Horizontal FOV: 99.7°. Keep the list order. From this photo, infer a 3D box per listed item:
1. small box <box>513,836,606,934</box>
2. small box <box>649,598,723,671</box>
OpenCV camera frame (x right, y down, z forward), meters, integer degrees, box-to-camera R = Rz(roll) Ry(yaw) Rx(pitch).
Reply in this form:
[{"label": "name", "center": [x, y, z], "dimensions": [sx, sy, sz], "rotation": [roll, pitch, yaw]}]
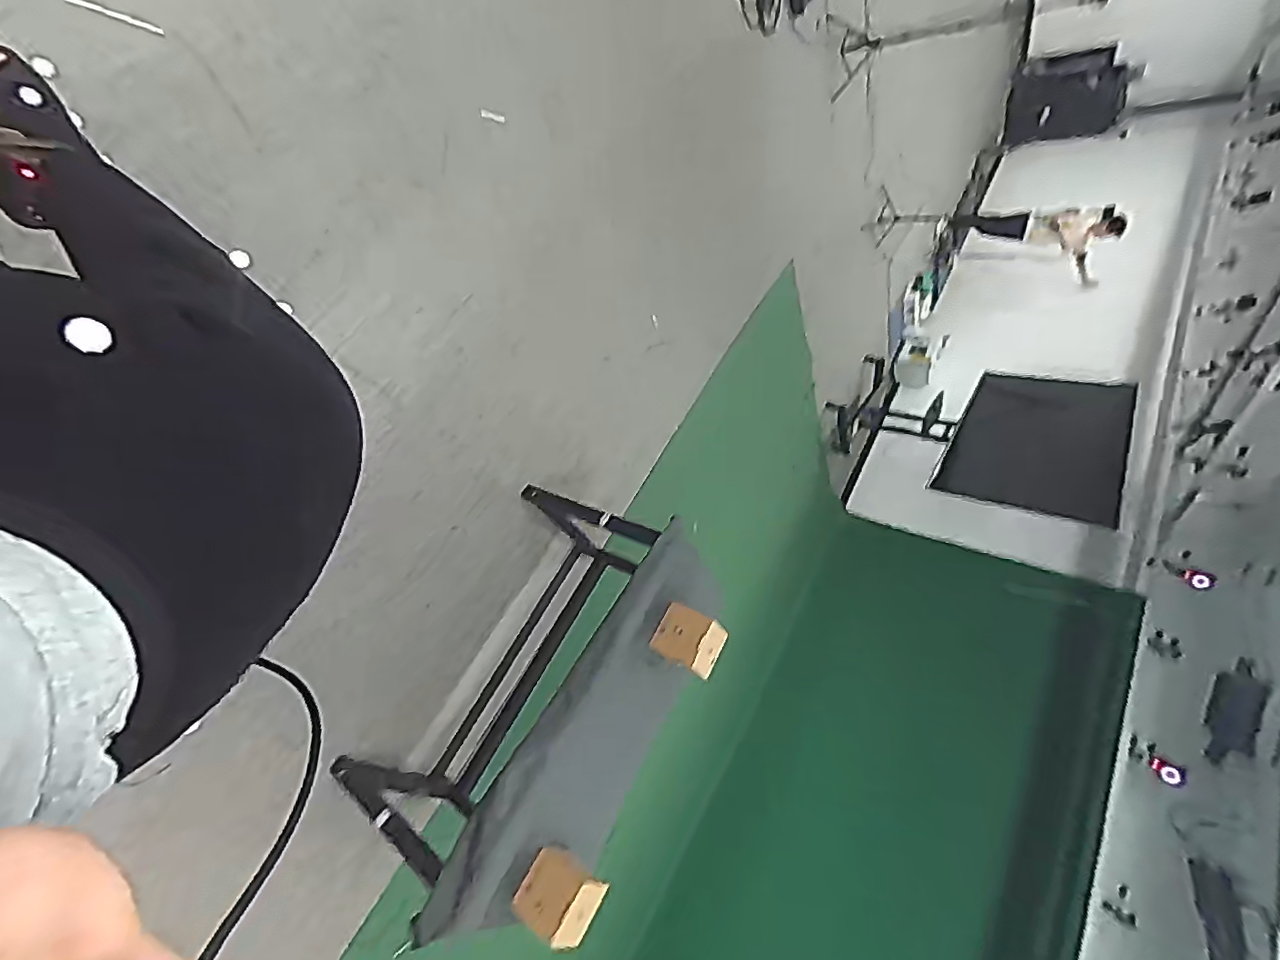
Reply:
[{"label": "small box", "center": [-0.237, 1.178, 1.579], "dimensions": [0.168, 0.176, 0.179], "rotation": [-56, 143, -21]}, {"label": "small box", "center": [0.155, 0.521, 1.840], "dimensions": [0.168, 0.176, 0.179], "rotation": [-59, 143, -18]}]
